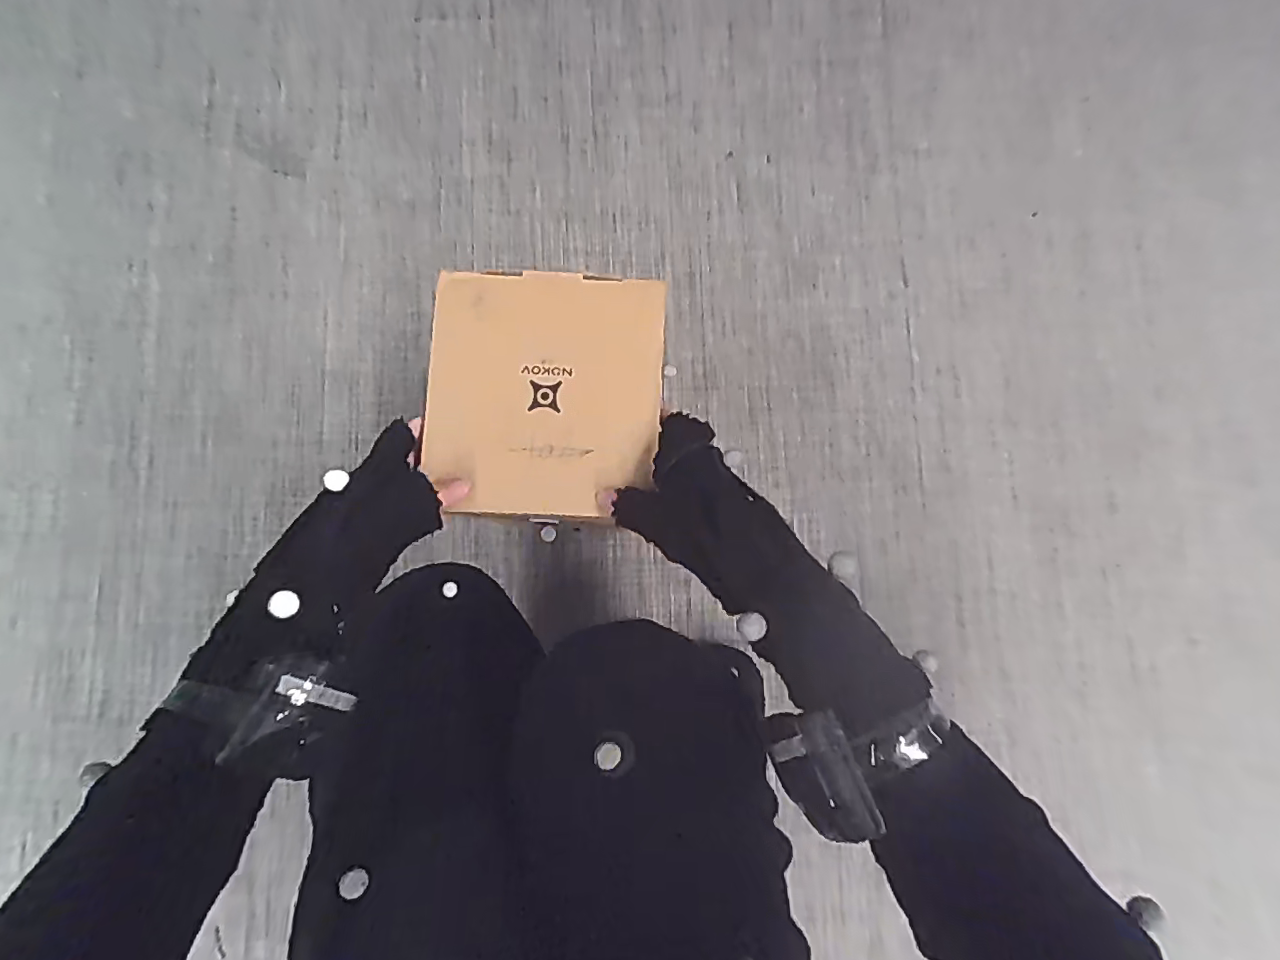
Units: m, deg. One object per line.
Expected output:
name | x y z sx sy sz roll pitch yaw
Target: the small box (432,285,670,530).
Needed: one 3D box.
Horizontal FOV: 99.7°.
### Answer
small box | -0.064 -0.048 0.472 0.168 0.176 0.179 2 86 0
